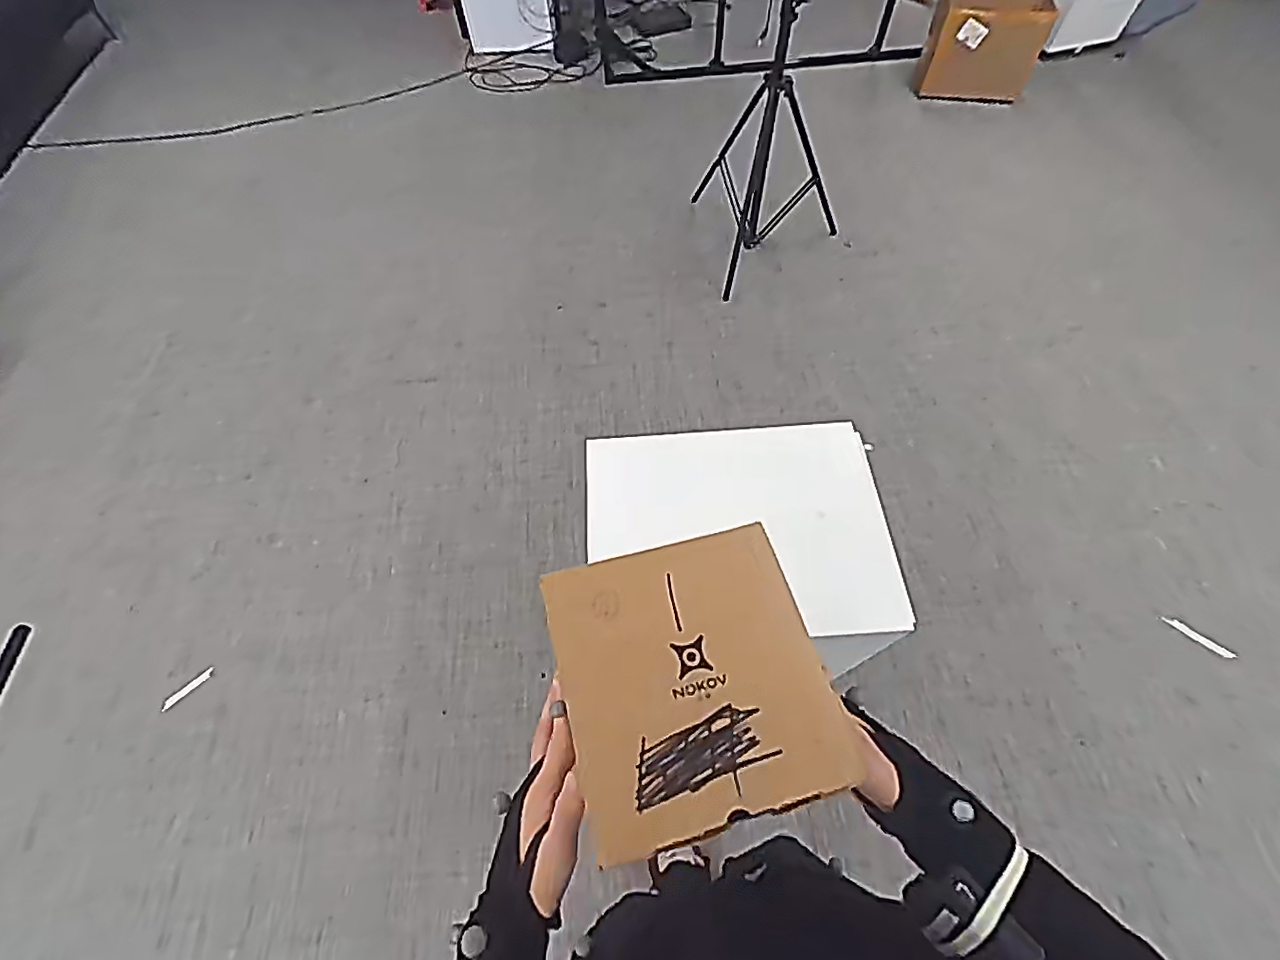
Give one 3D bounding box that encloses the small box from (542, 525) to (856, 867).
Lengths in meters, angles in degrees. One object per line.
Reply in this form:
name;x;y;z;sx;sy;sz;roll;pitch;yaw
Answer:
small box;0.028;0.160;0.416;0.168;0.176;0.179;-12;63;-10
